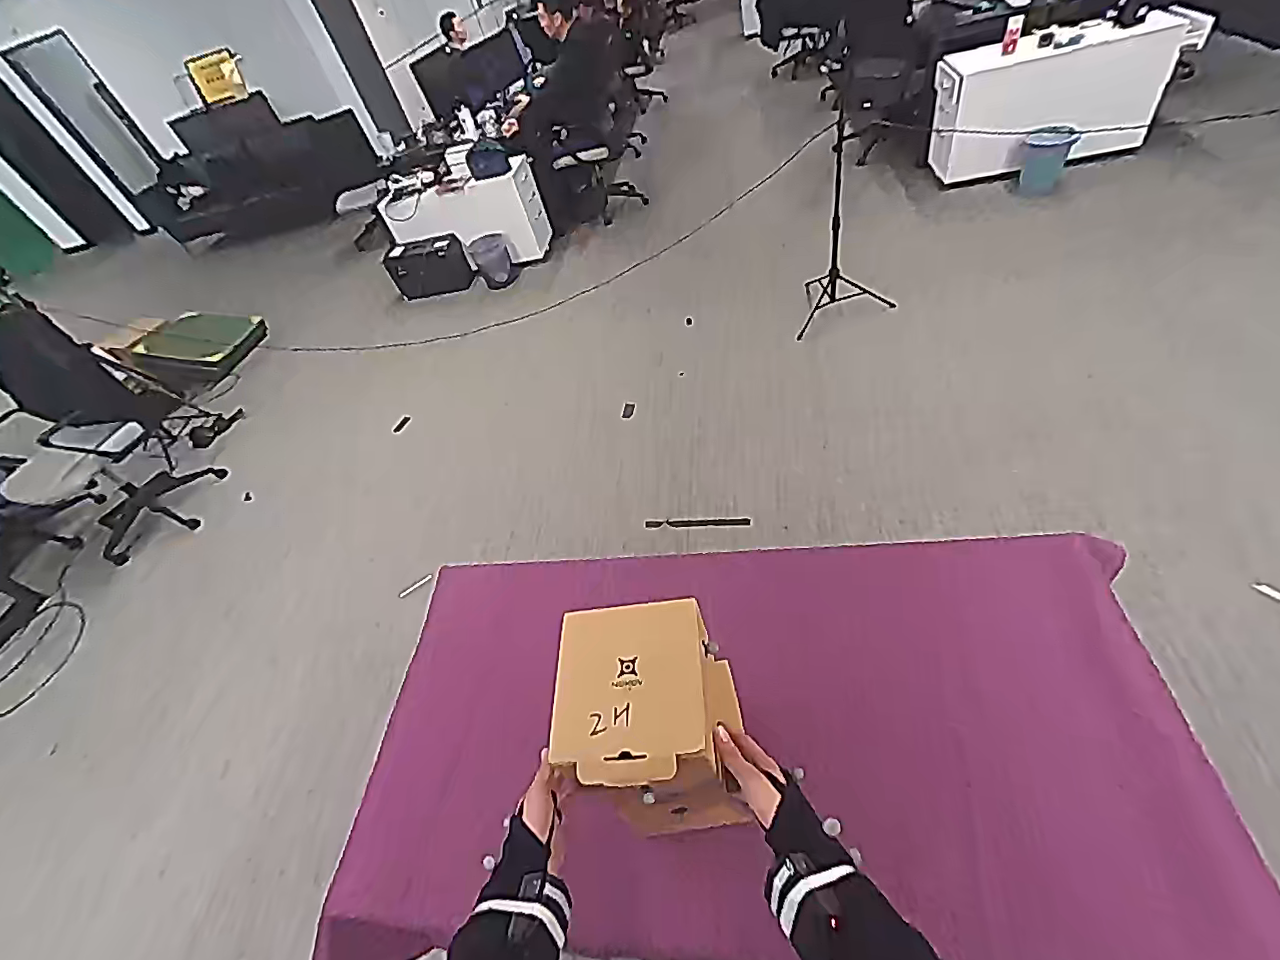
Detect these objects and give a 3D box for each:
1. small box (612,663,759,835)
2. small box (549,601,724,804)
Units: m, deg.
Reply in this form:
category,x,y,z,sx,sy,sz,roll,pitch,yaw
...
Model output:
category,x,y,z,sx,sy,sz,roll,pitch,yaw
small box,0.062,0.382,0.761,0.179,0.176,0.168,-12,46,6
small box,0.005,0.270,0.653,0.168,0.176,0.179,-9,46,10
